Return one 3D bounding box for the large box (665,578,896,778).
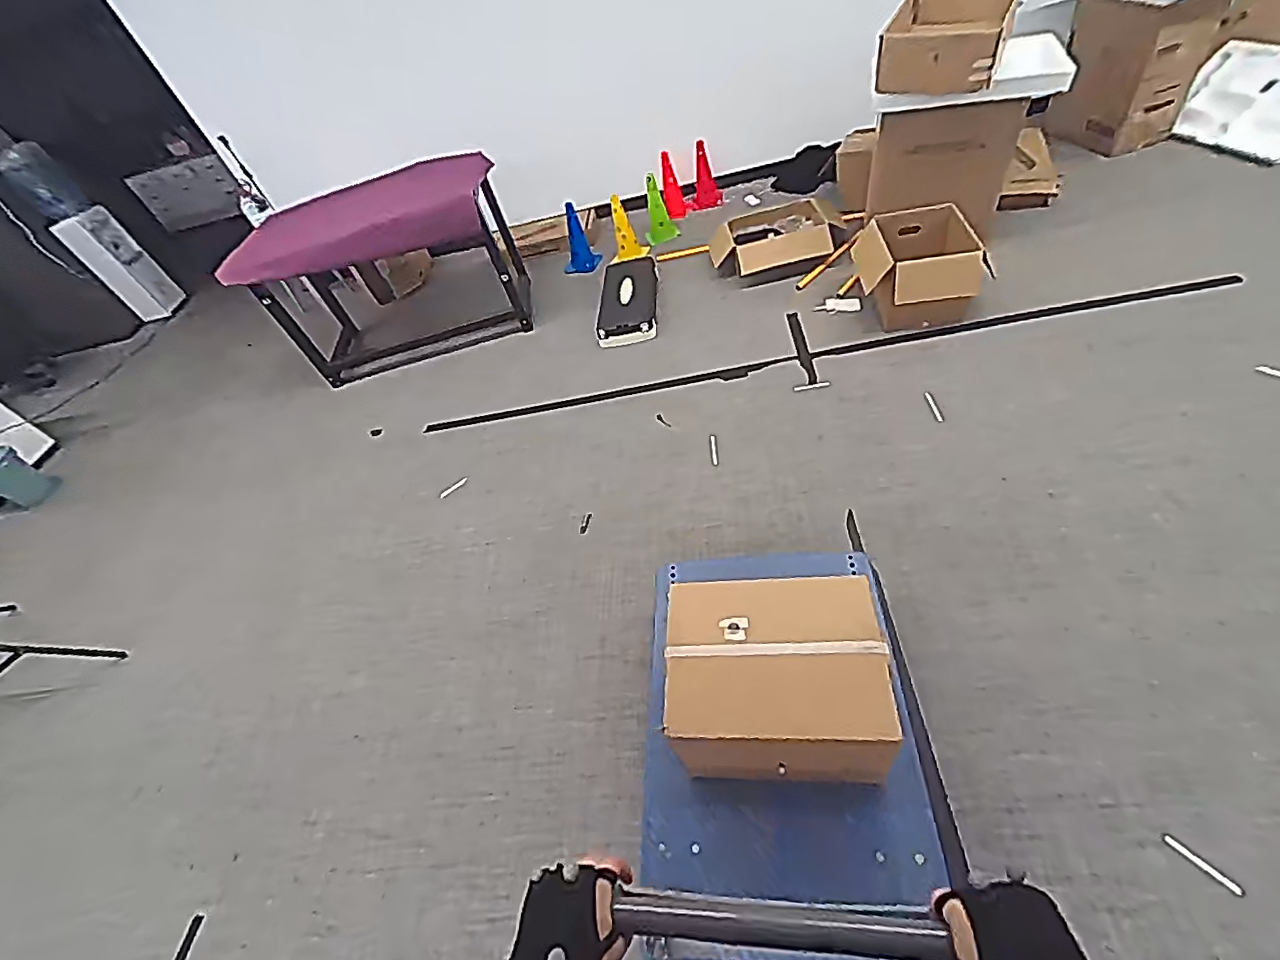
[{"bbox_3d":[0.283,0.431,1.148,0.408,0.320,0.320,-6,47,13],"label":"large box"}]
